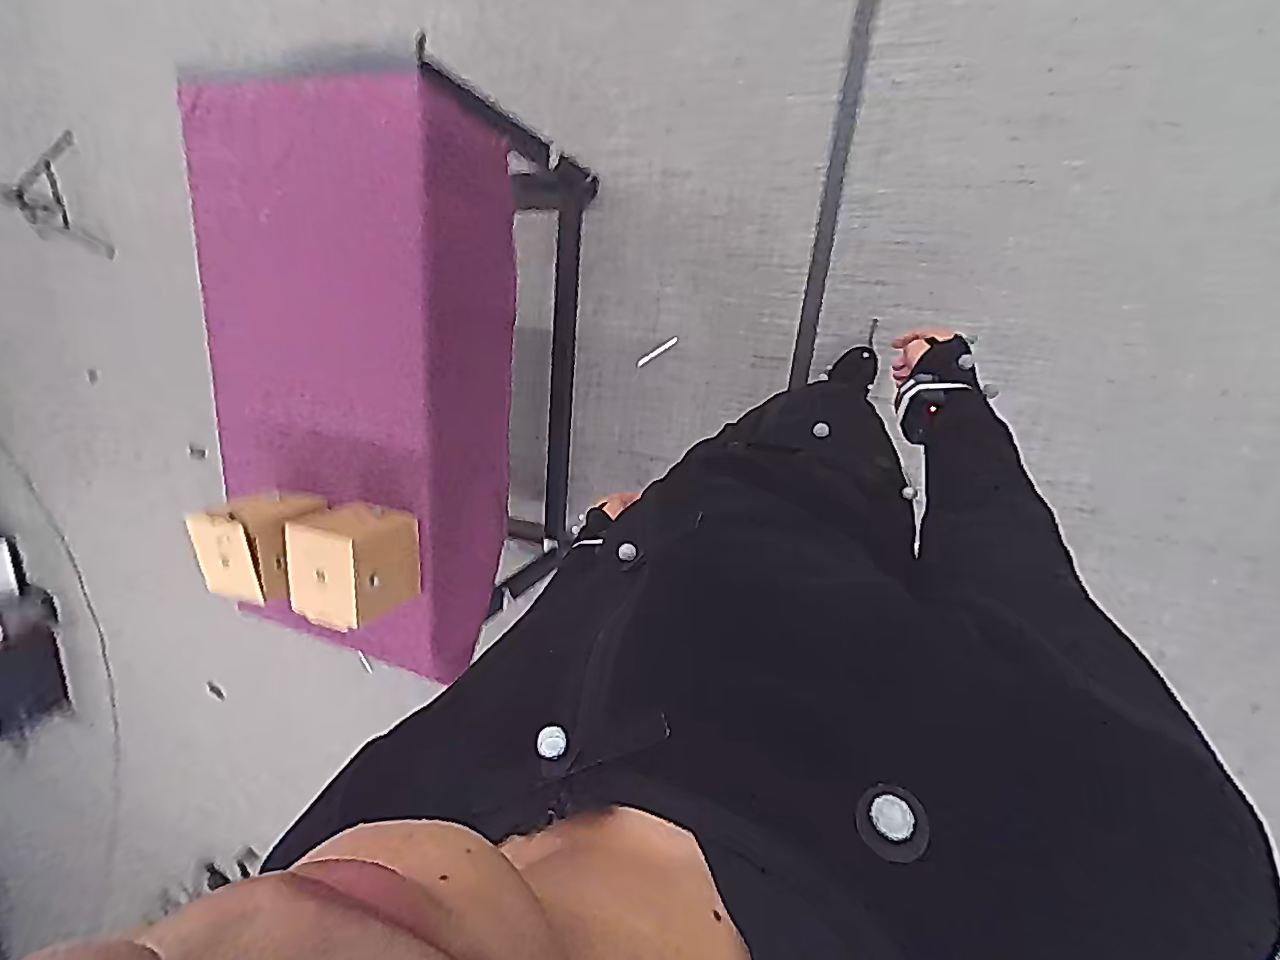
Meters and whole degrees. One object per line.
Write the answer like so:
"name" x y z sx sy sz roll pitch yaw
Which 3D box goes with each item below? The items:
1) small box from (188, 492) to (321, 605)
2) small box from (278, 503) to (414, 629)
"small box" -0.795 0.137 1.139 0.168 0.176 0.179 7 105 18
"small box" -0.566 0.161 1.063 0.168 0.176 0.179 9 106 17
